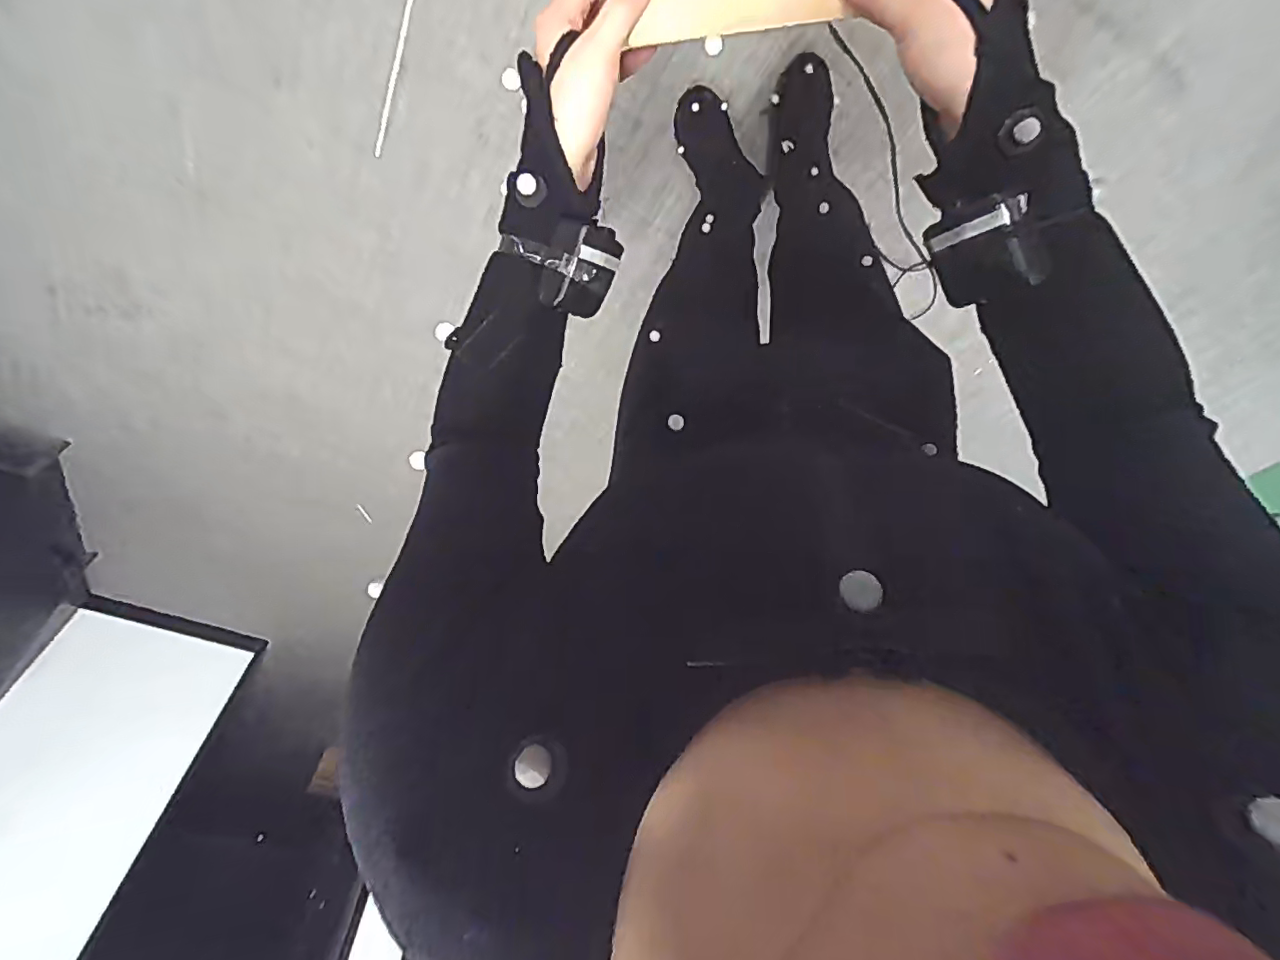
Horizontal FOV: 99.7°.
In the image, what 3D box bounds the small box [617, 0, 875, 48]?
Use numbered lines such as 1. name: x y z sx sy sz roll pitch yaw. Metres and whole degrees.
1. small box: 0.065 -0.410 0.353 0.168 0.176 0.179 -3 131 7
